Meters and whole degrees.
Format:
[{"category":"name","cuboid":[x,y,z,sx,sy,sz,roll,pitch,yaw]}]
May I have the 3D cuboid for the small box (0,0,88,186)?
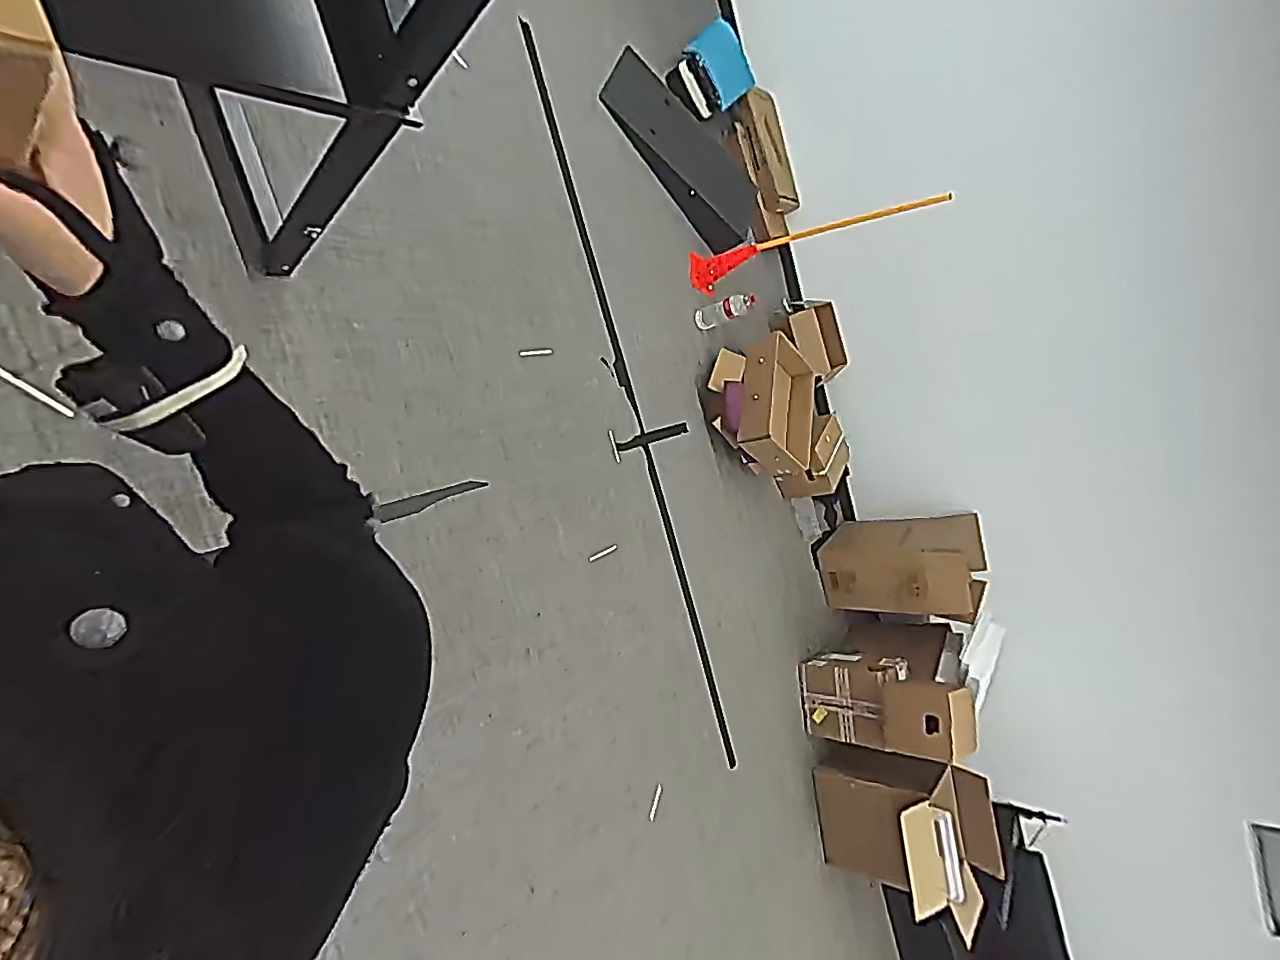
[{"category":"small box","cuboid":[-0.308,-0.204,0.145,0.168,0.176,0.179,-27,113,-50]}]
